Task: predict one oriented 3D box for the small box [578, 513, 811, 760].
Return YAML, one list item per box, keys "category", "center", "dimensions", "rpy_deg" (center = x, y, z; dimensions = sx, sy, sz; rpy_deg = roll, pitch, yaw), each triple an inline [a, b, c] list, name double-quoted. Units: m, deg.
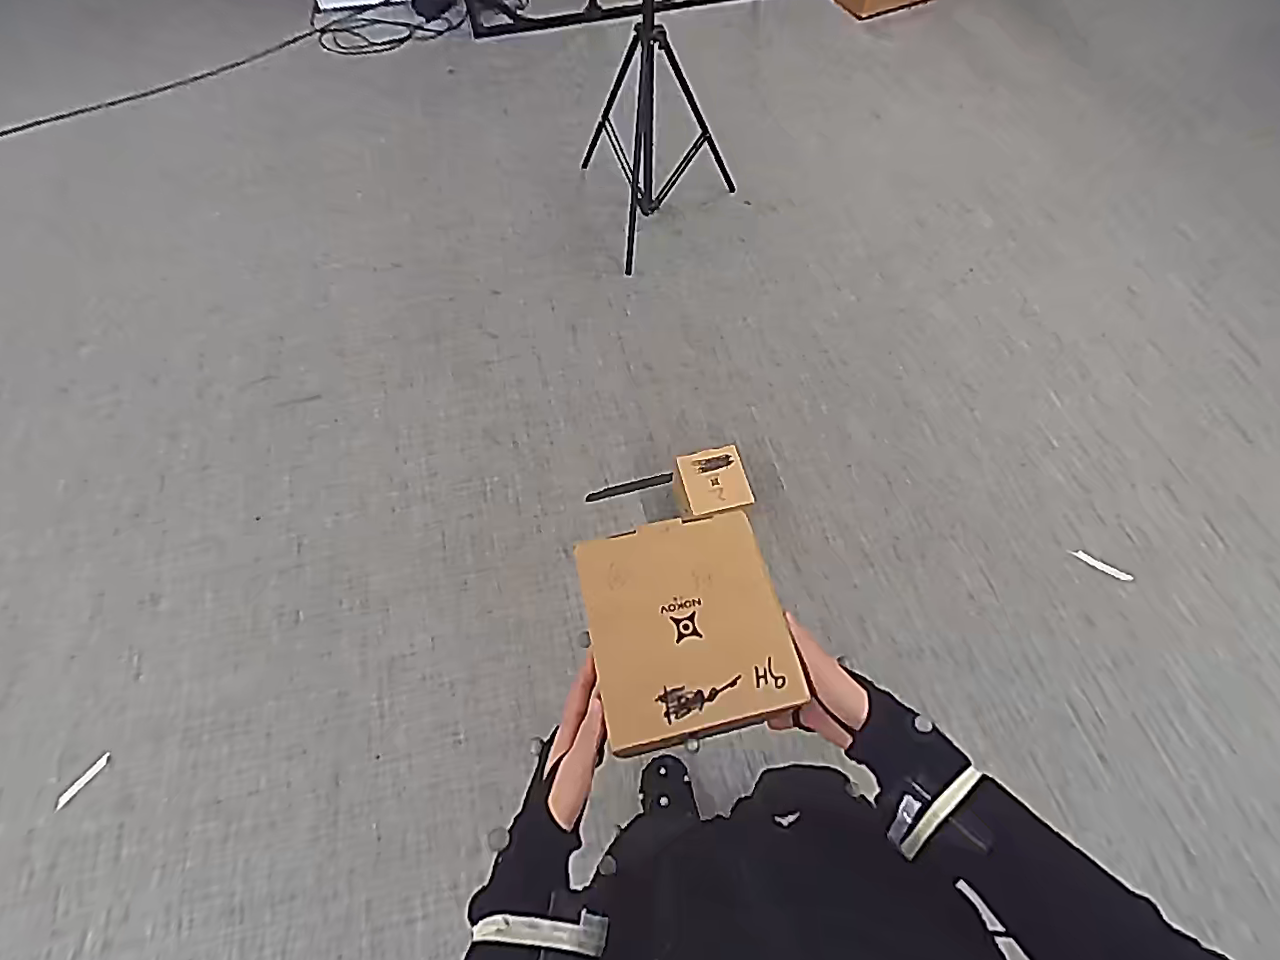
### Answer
- category: "small box"
  center: [0.037, 0.158, 0.527]
  dimensions: [0.168, 0.176, 0.179]
  rpy_deg: [-11, 61, -6]
